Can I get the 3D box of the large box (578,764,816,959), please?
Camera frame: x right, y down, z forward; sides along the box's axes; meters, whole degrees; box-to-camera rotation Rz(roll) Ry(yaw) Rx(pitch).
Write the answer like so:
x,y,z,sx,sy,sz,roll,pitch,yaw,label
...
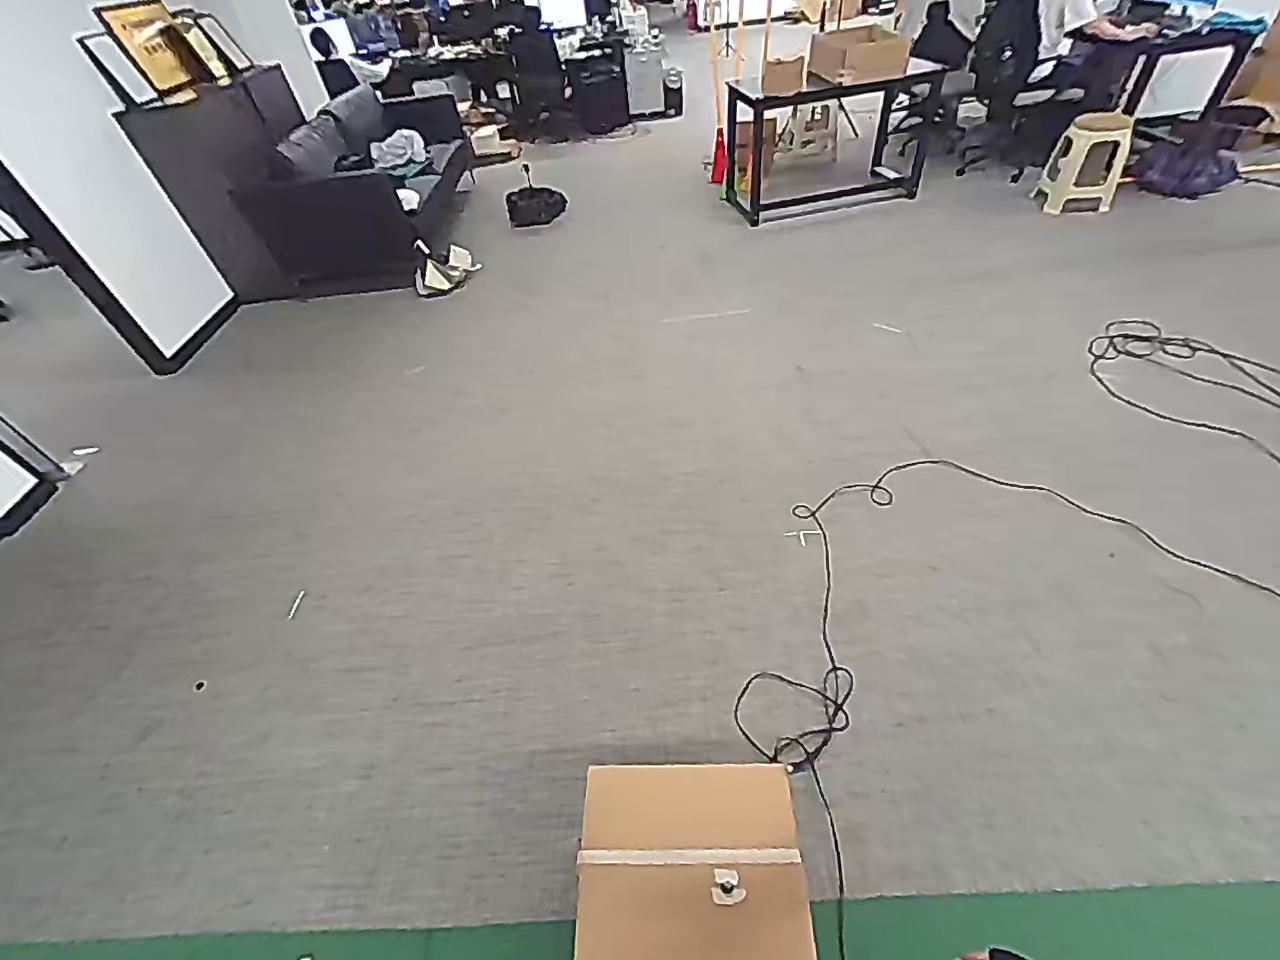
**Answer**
x,y,z,sx,sy,sz,roll,pitch,yaw,label
0.104,0.798,1.099,0.408,0.320,0.320,-3,46,4,large box
